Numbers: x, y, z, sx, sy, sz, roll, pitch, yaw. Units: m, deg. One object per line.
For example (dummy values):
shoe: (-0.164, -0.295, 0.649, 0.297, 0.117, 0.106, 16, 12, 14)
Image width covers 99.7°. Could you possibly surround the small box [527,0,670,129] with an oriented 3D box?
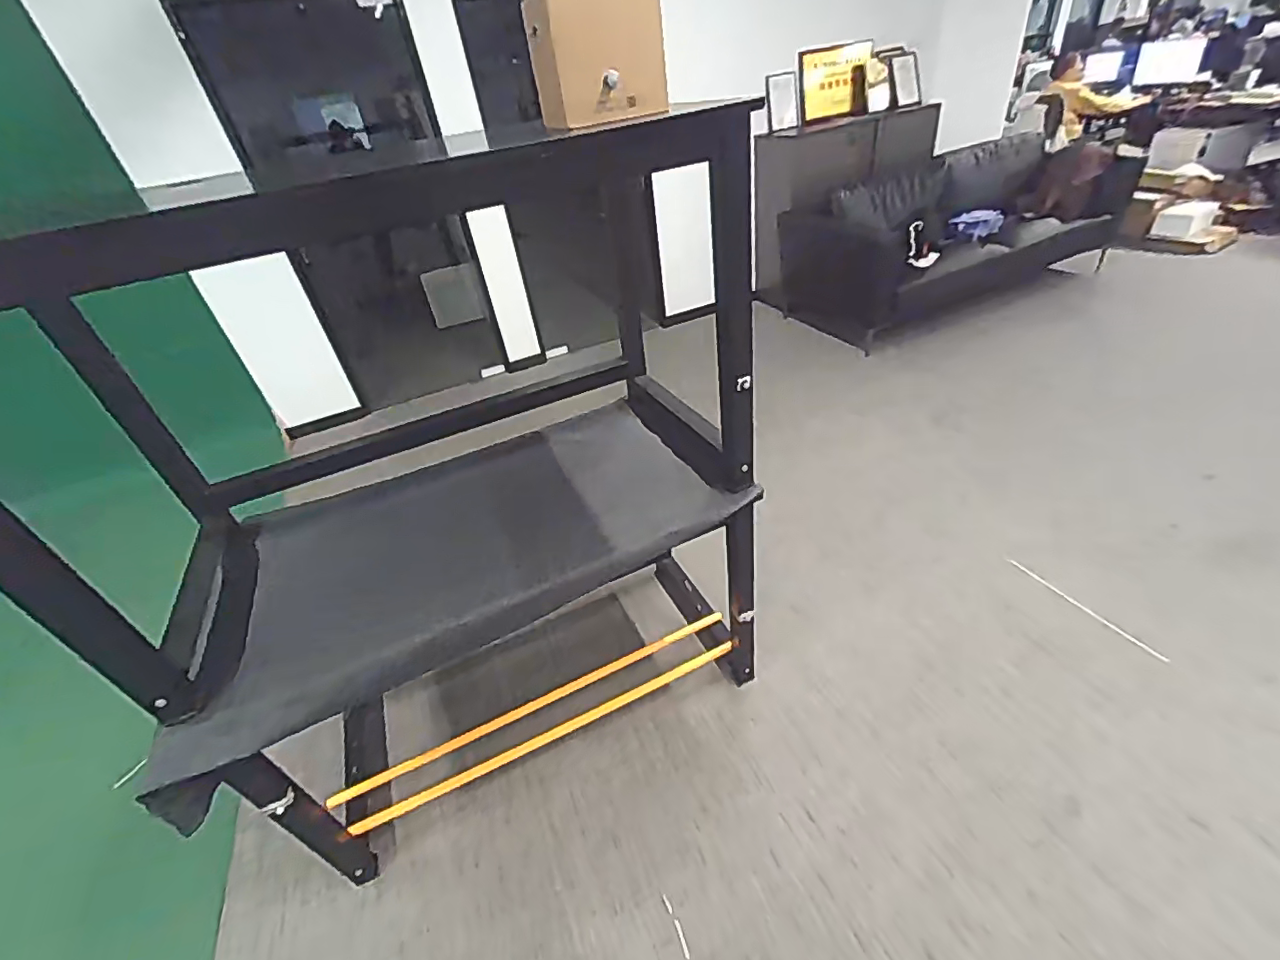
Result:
small box: (-0.063, -0.649, 0.830, 0.168, 0.176, 0.179, -18, 38, -11)
